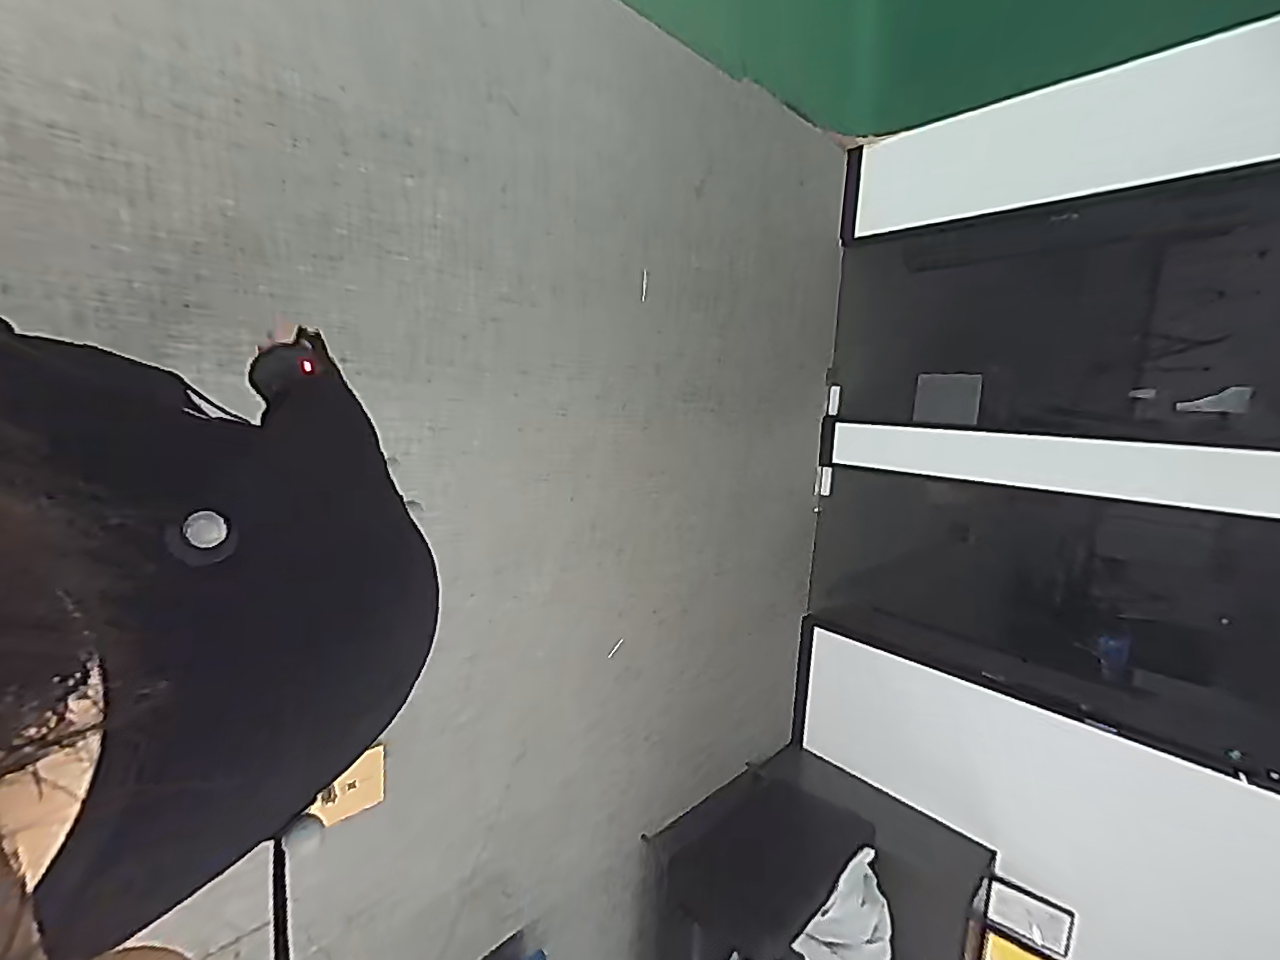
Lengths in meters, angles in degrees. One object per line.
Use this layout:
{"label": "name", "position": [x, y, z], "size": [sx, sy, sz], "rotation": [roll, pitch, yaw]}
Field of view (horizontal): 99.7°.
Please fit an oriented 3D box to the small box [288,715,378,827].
{"label": "small box", "position": [-0.811, 0.755, 1.423], "size": [0.179, 0.176, 0.168], "rotation": [-4, 101, -45]}
